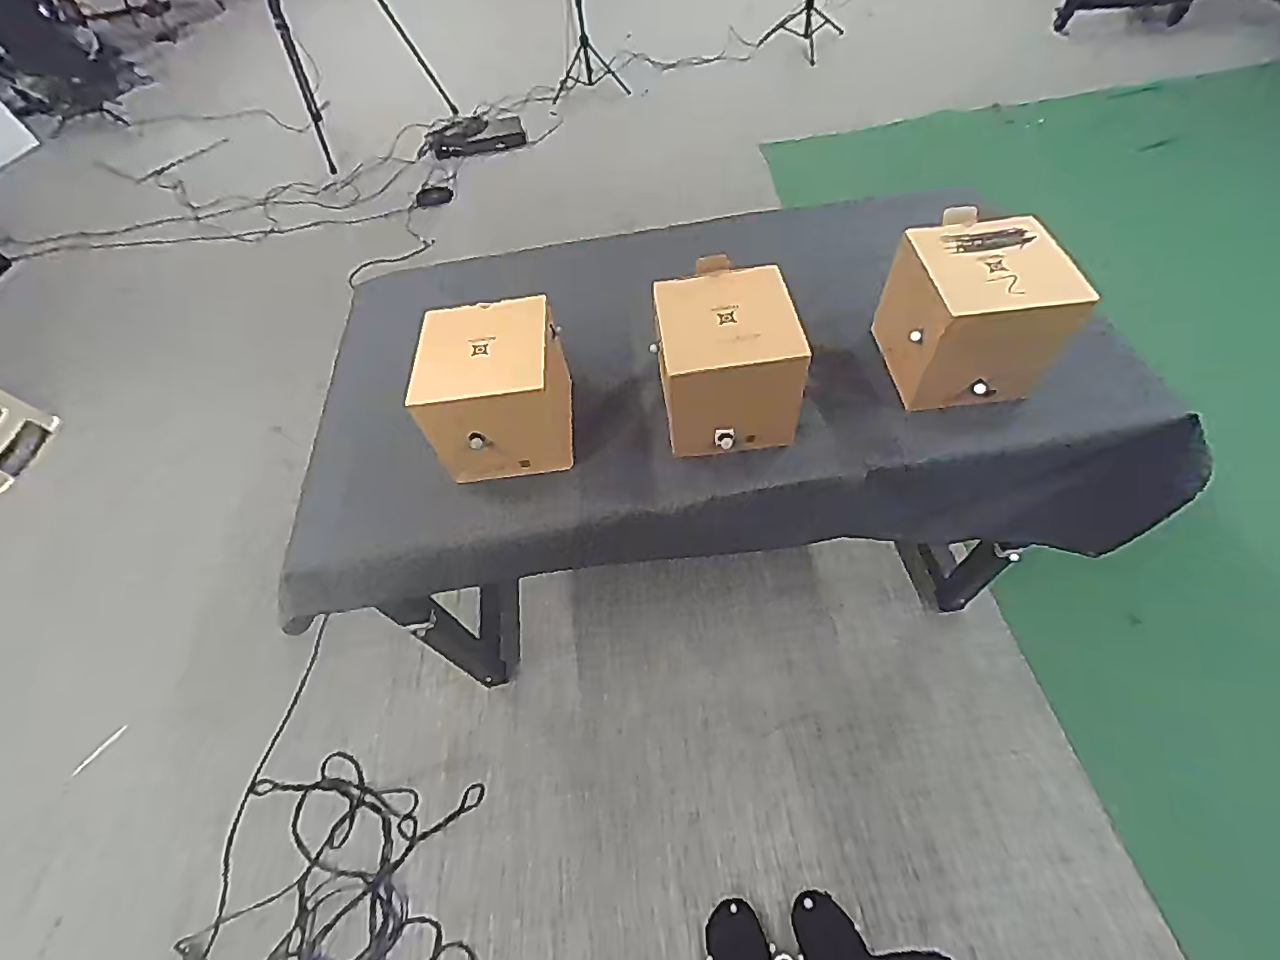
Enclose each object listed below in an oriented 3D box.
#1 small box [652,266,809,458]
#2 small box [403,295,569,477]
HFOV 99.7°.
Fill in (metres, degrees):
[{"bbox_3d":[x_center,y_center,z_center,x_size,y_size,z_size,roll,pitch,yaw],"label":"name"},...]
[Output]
[{"bbox_3d":[0.110,-0.153,0.722,0.168,0.176,0.179,-8,55,2],"label":"small box"},{"bbox_3d":[-0.193,-0.118,0.733,0.168,0.176,0.179,-8,54,1],"label":"small box"}]
